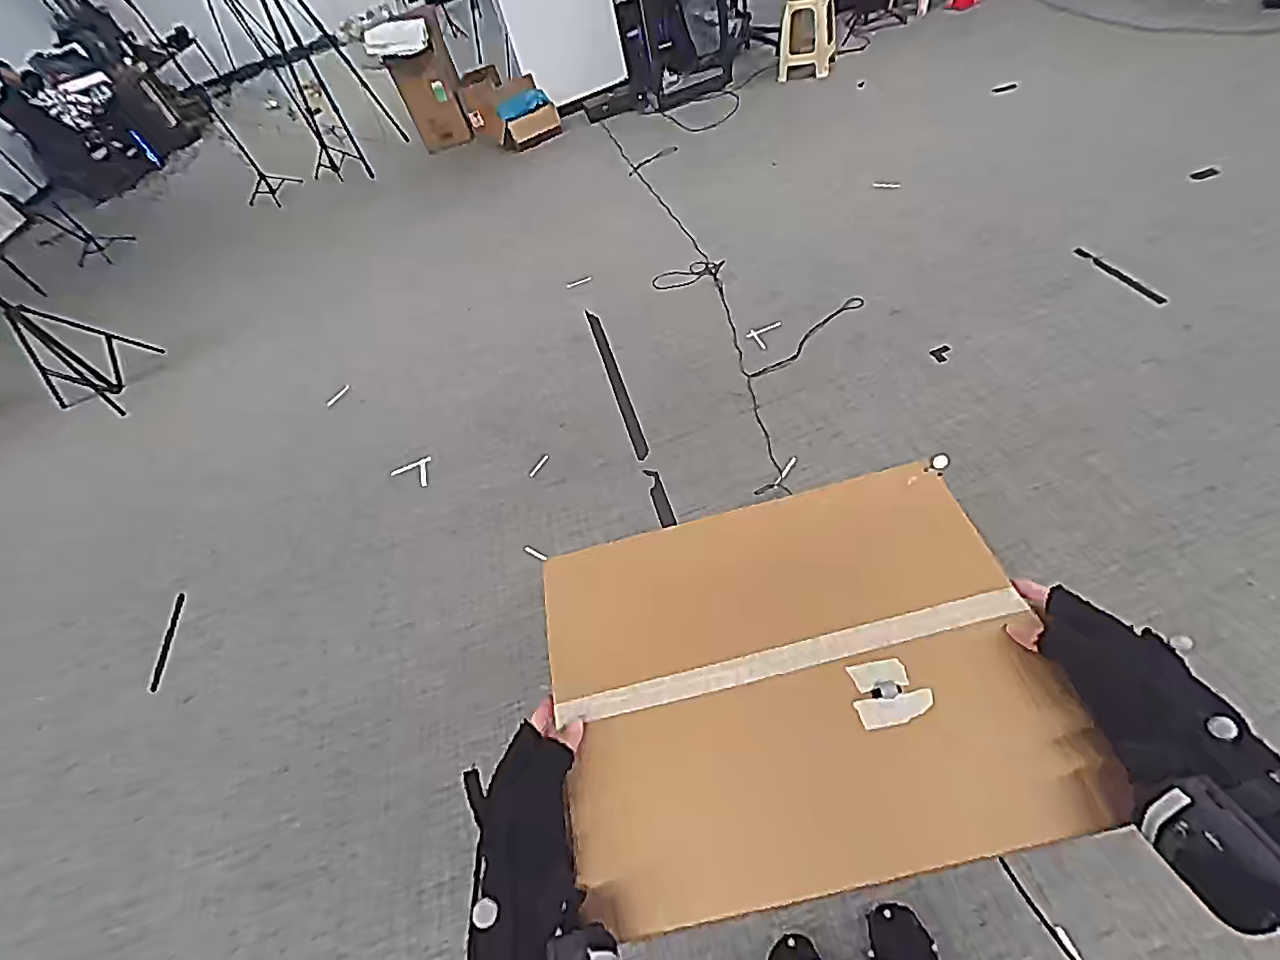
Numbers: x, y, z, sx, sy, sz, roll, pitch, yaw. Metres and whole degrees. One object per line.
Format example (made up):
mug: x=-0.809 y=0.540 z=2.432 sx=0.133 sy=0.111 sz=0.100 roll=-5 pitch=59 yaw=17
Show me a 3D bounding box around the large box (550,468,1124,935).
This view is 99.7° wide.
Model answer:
large box: x=0.149 y=0.243 z=0.591 sx=0.408 sy=0.320 sz=0.320 roll=-15 pitch=53 yaw=1
